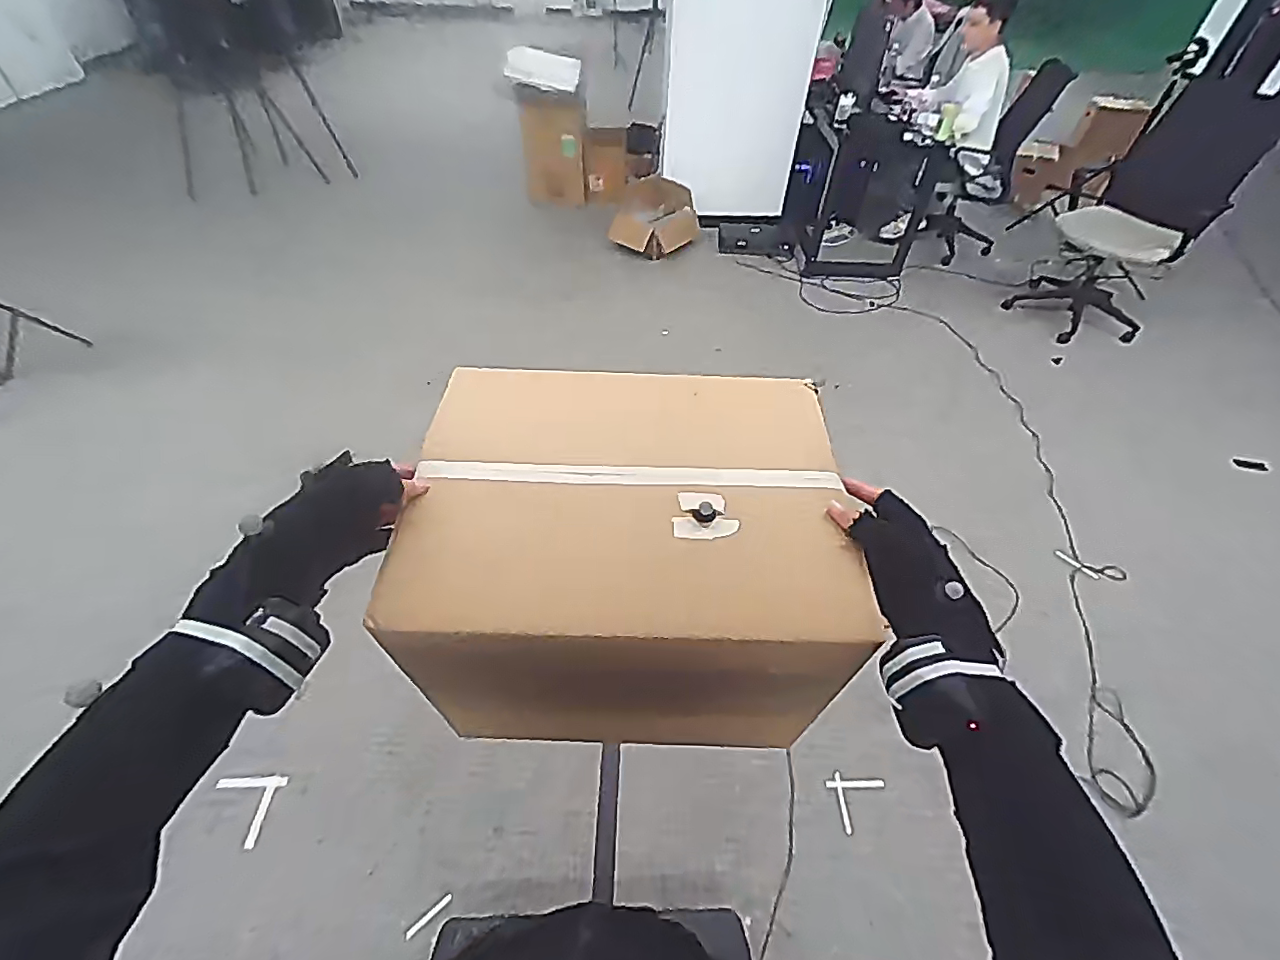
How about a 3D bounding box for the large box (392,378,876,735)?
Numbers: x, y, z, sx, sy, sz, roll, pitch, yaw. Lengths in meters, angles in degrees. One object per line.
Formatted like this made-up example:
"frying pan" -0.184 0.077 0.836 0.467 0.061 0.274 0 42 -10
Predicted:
"large box" -0.009 0.099 0.645 0.408 0.320 0.320 2 51 -1
